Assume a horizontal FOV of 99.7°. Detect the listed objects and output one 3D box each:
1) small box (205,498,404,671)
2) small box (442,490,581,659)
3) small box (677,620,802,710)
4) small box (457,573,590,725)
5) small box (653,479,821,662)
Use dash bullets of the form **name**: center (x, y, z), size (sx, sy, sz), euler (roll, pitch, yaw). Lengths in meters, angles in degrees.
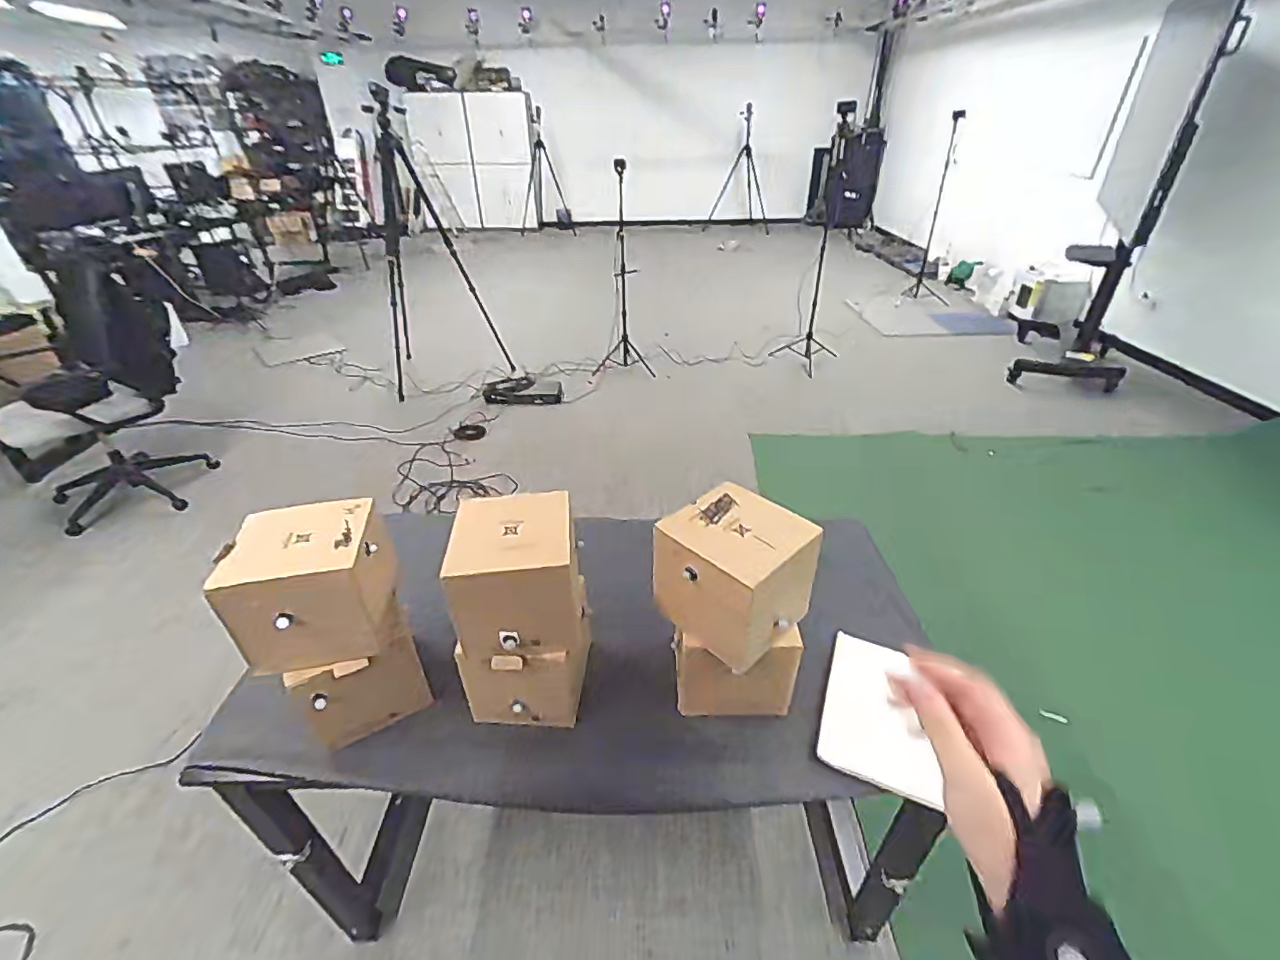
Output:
- **small box**: center (-0.467, 0.151, 0.787), size (0.179, 0.176, 0.168), euler (-9, 34, -10)
- **small box**: center (-0.178, 0.136, 0.800), size (0.168, 0.176, 0.179), euler (-6, 34, -5)
- **small box**: center (0.153, 0.261, 0.894), size (0.179, 0.176, 0.168), euler (-2, 33, 2)
- **small box**: center (-0.178, 0.271, 0.890), size (0.168, 0.176, 0.179), euler (0, 33, 5)
- **small box**: center (0.135, 0.129, 0.795), size (0.168, 0.176, 0.179), euler (-28, 42, -34)
